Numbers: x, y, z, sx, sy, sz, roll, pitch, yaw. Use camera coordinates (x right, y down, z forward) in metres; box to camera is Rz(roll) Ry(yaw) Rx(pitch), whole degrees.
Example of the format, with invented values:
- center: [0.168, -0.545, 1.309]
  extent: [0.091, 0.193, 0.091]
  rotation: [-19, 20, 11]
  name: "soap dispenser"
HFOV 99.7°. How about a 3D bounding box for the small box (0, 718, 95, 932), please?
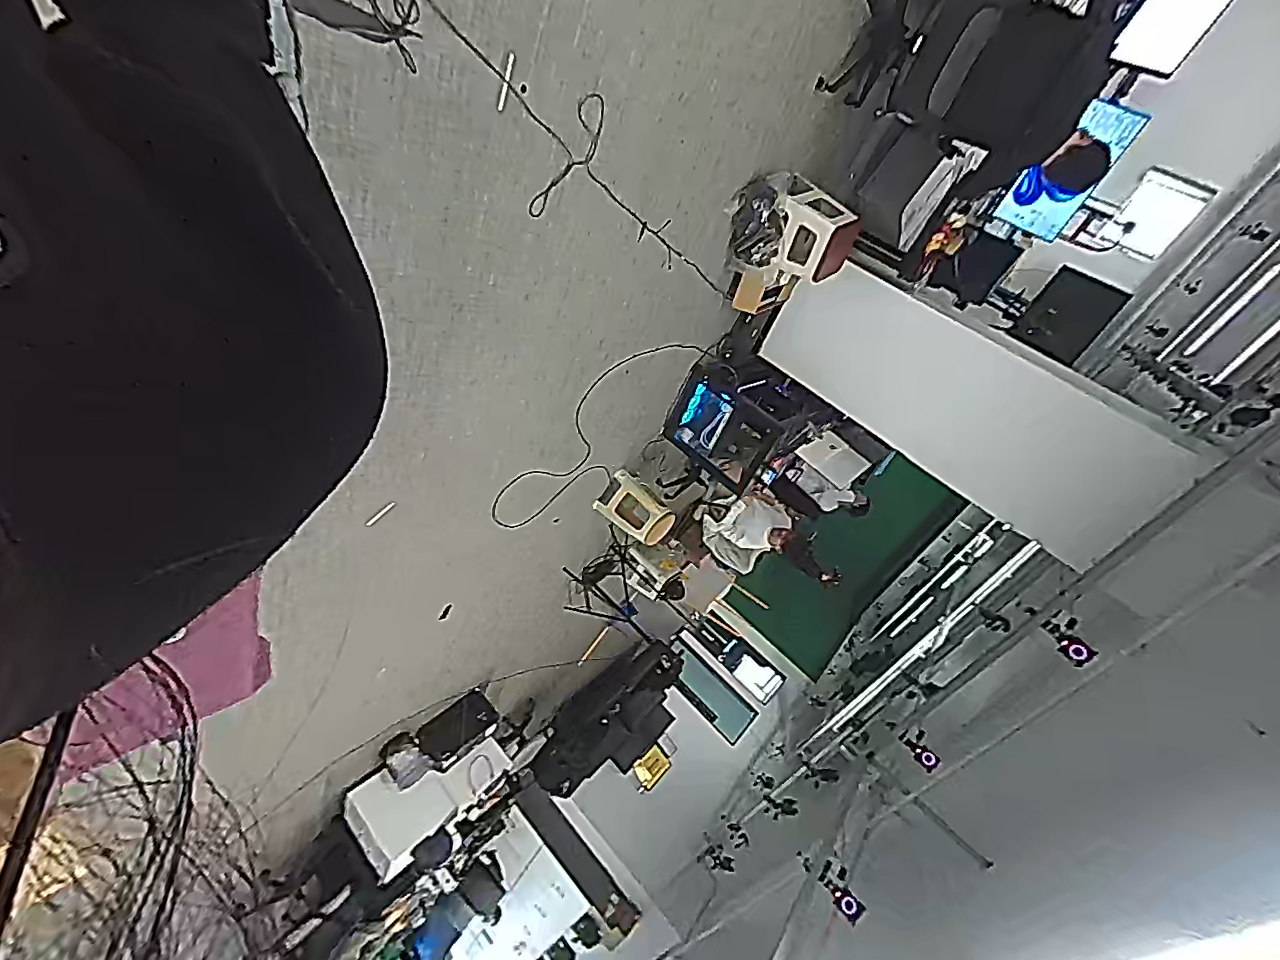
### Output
- center: [-0.752, 0.398, 0.593]
  extent: [0.168, 0.176, 0.179]
  rotation: [-23, 147, -49]
  name: "small box"
